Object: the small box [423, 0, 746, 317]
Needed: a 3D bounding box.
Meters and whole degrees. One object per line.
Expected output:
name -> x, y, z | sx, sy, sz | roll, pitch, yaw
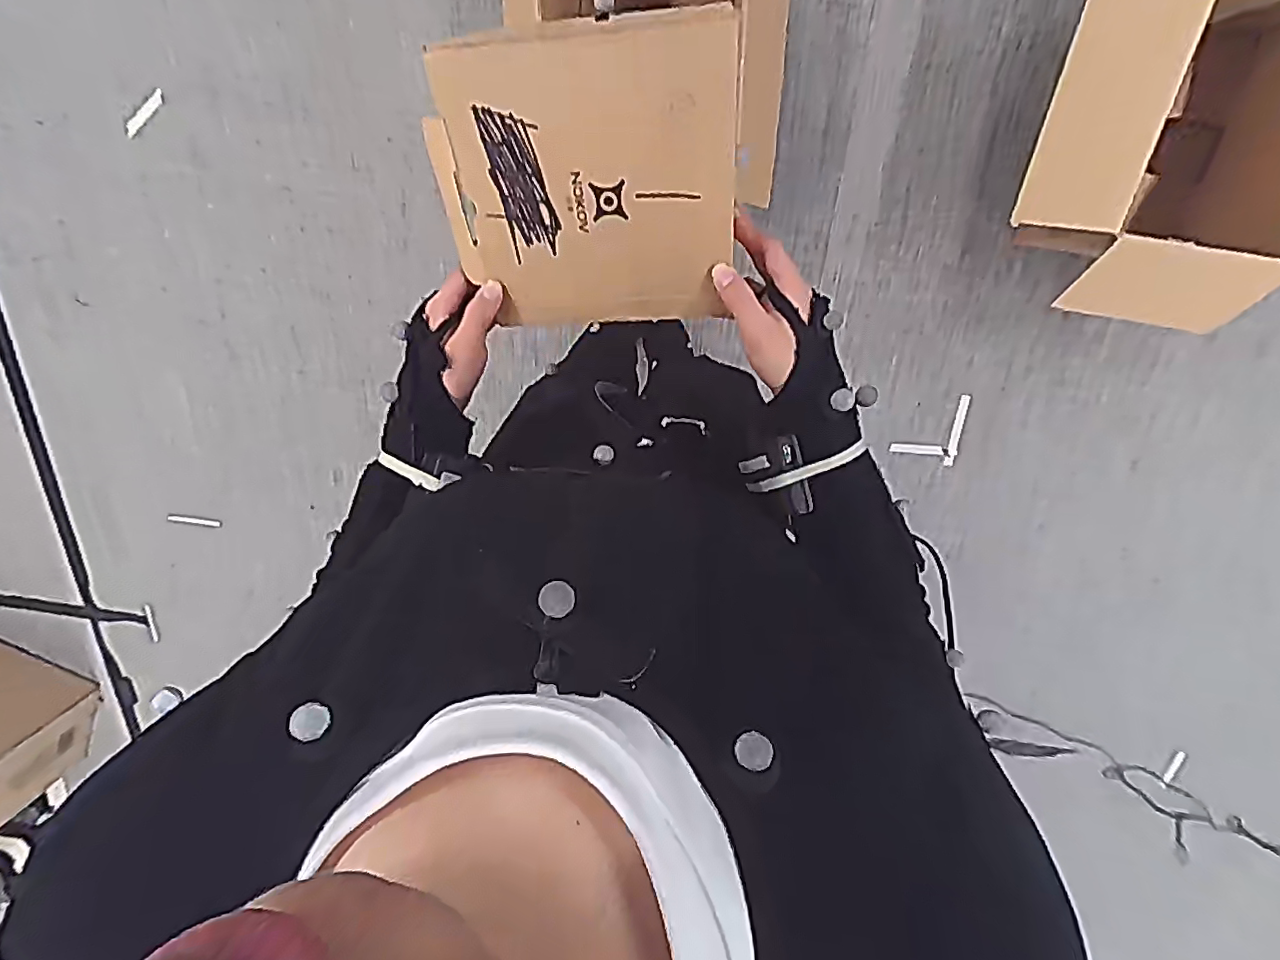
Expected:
small box -> -0.020, -0.232, 0.392 | 0.179, 0.176, 0.168 | 0, 133, 6
